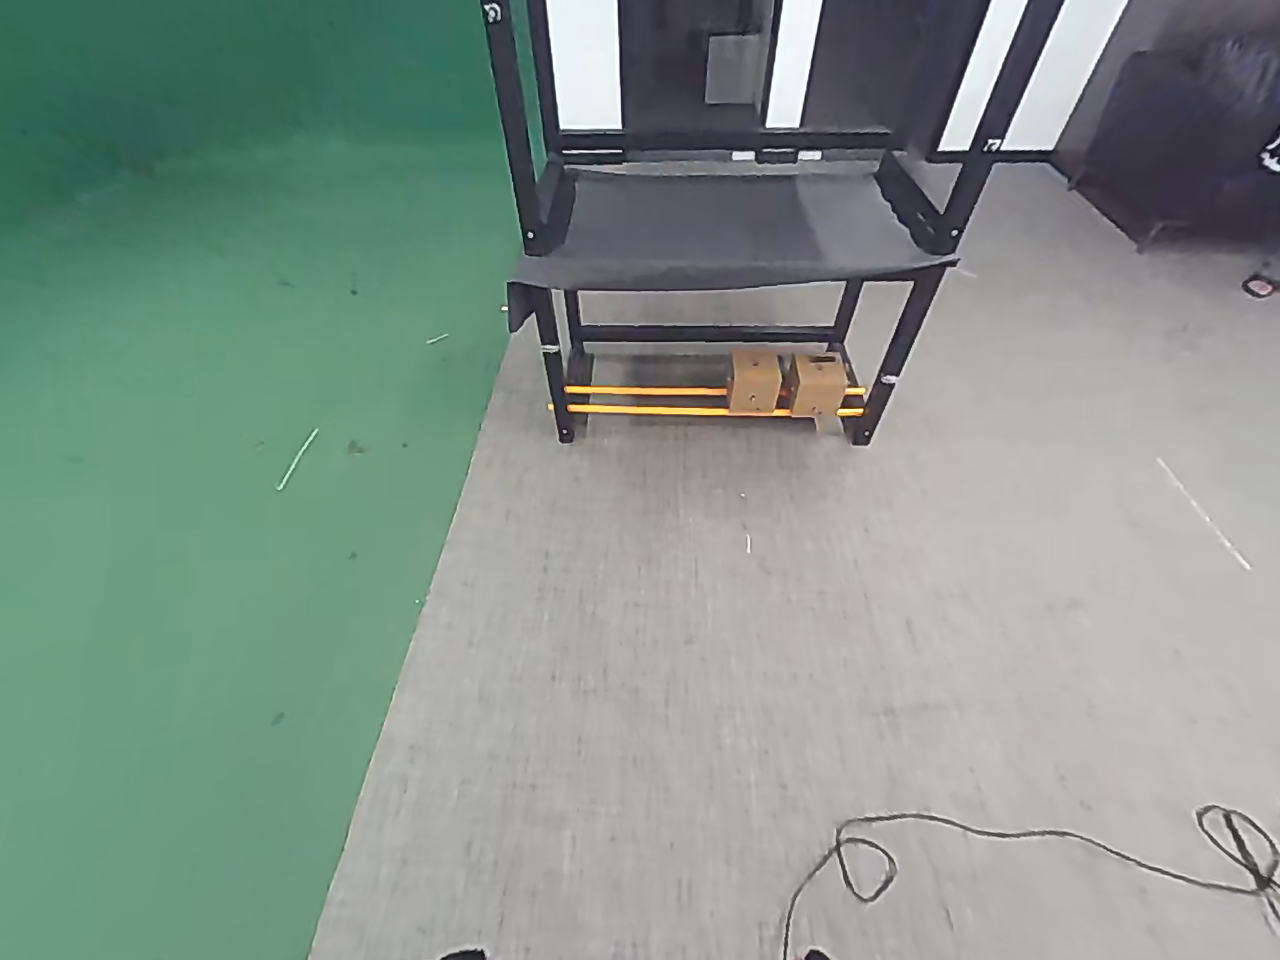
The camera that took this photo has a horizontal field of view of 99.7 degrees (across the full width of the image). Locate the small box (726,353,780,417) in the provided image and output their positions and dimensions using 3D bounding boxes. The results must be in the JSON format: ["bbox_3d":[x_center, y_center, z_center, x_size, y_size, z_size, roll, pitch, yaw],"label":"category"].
[{"bbox_3d":[0.412,-0.347,1.995,0.168,0.176,0.179,1,50,1],"label":"small box"}]
